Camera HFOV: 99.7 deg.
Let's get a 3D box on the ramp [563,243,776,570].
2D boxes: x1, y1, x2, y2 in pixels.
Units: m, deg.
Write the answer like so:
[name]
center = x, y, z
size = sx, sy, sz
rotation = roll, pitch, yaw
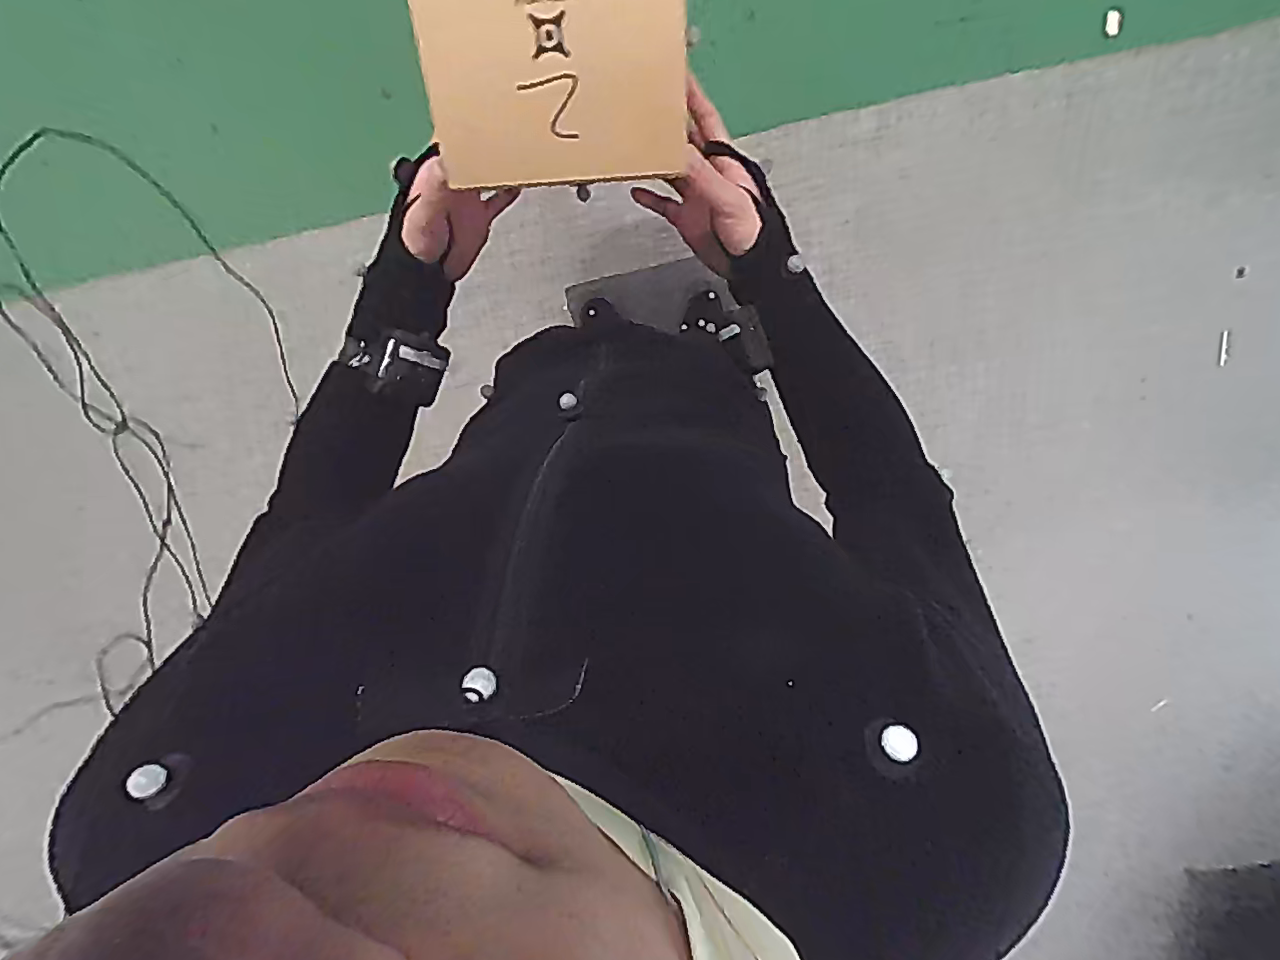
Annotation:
[ramp]
center = 0.136, -0.154, 1.672
size = 0.509, 0.206, 0.991
rotation = -14, 109, 3
